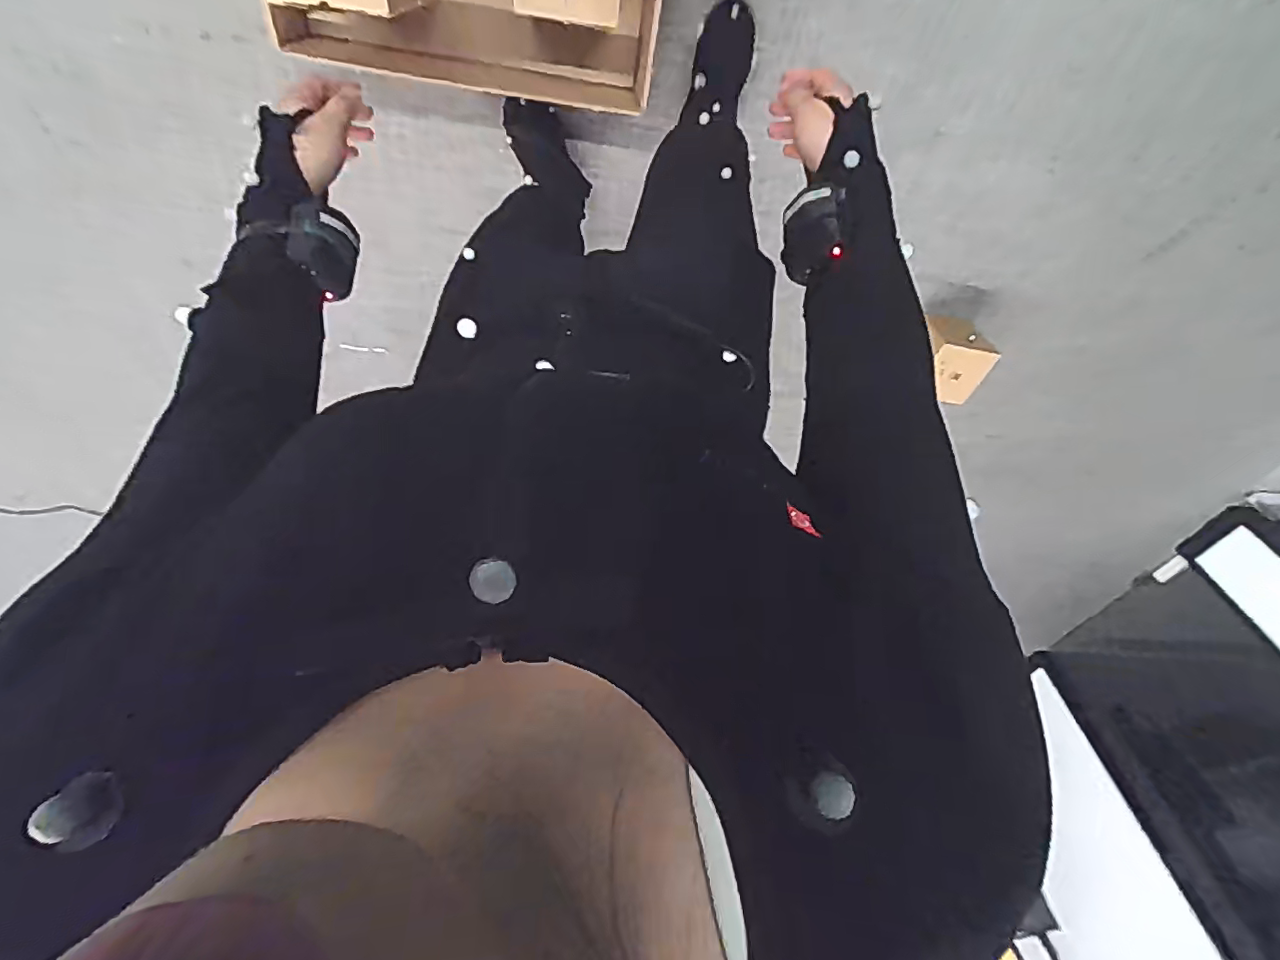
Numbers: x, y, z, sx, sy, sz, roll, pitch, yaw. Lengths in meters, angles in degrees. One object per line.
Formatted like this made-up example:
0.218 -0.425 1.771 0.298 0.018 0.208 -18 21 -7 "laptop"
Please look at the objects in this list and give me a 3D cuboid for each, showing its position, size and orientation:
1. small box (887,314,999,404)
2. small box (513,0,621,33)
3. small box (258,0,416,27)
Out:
0.822 -0.335 1.487 0.179 0.176 0.168 7 133 -12 "small box"
-0.109 -0.829 0.838 0.168 0.176 0.179 3 137 -7 "small box"
-0.401 -0.718 0.695 0.168 0.176 0.179 2 137 -7 "small box"
